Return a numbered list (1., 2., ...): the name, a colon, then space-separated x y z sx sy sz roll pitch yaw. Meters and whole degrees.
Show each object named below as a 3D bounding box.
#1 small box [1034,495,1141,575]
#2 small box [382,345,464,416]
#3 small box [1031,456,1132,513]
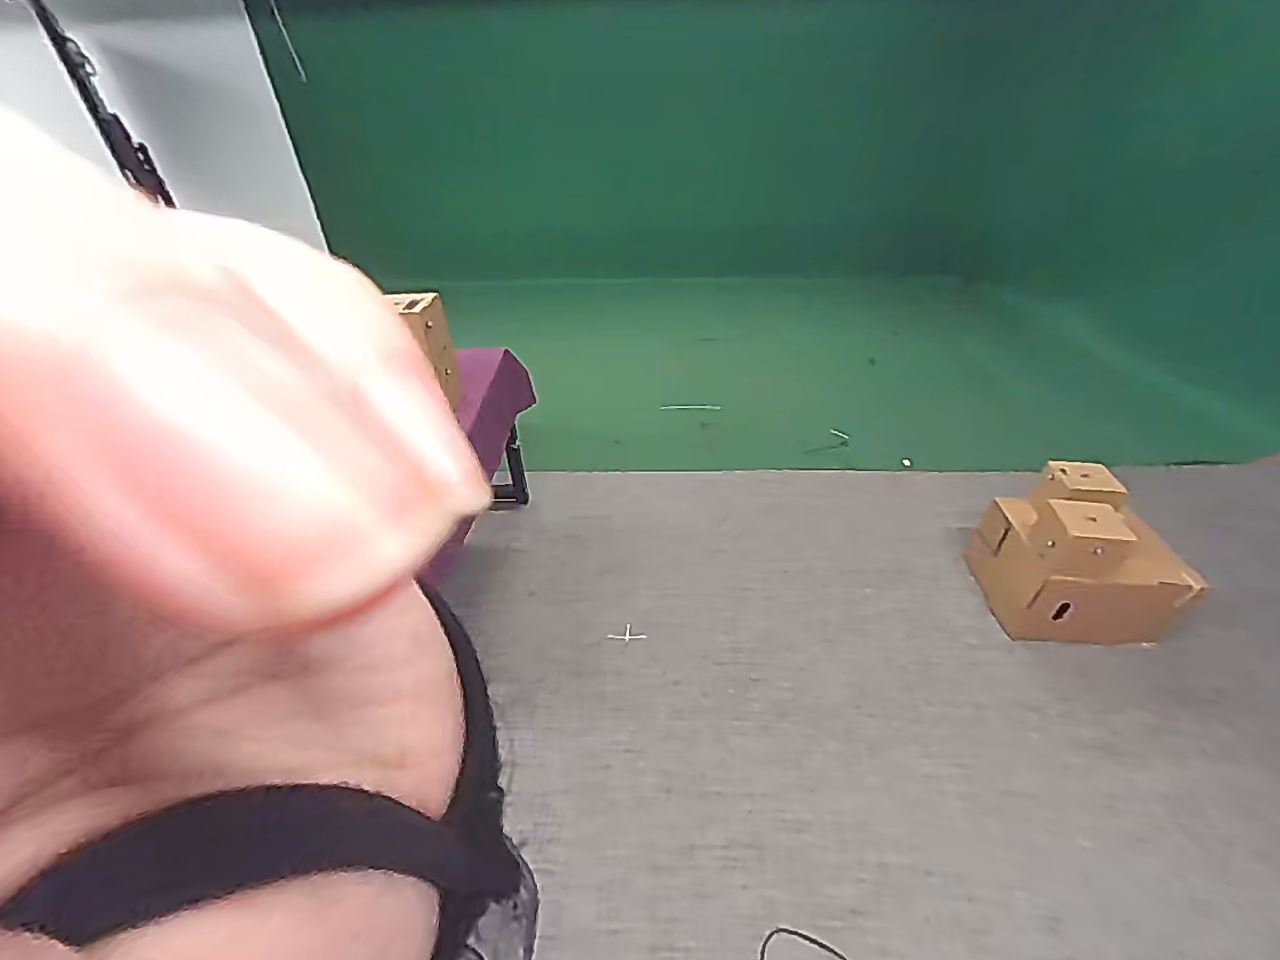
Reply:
1. small box: 1.332 0.167 1.632 0.179 0.176 0.168 6 38 8
2. small box: -0.666 -0.309 1.685 0.168 0.176 0.179 1 36 4
3. small box: 1.460 0.040 1.802 0.179 0.176 0.168 6 36 7
